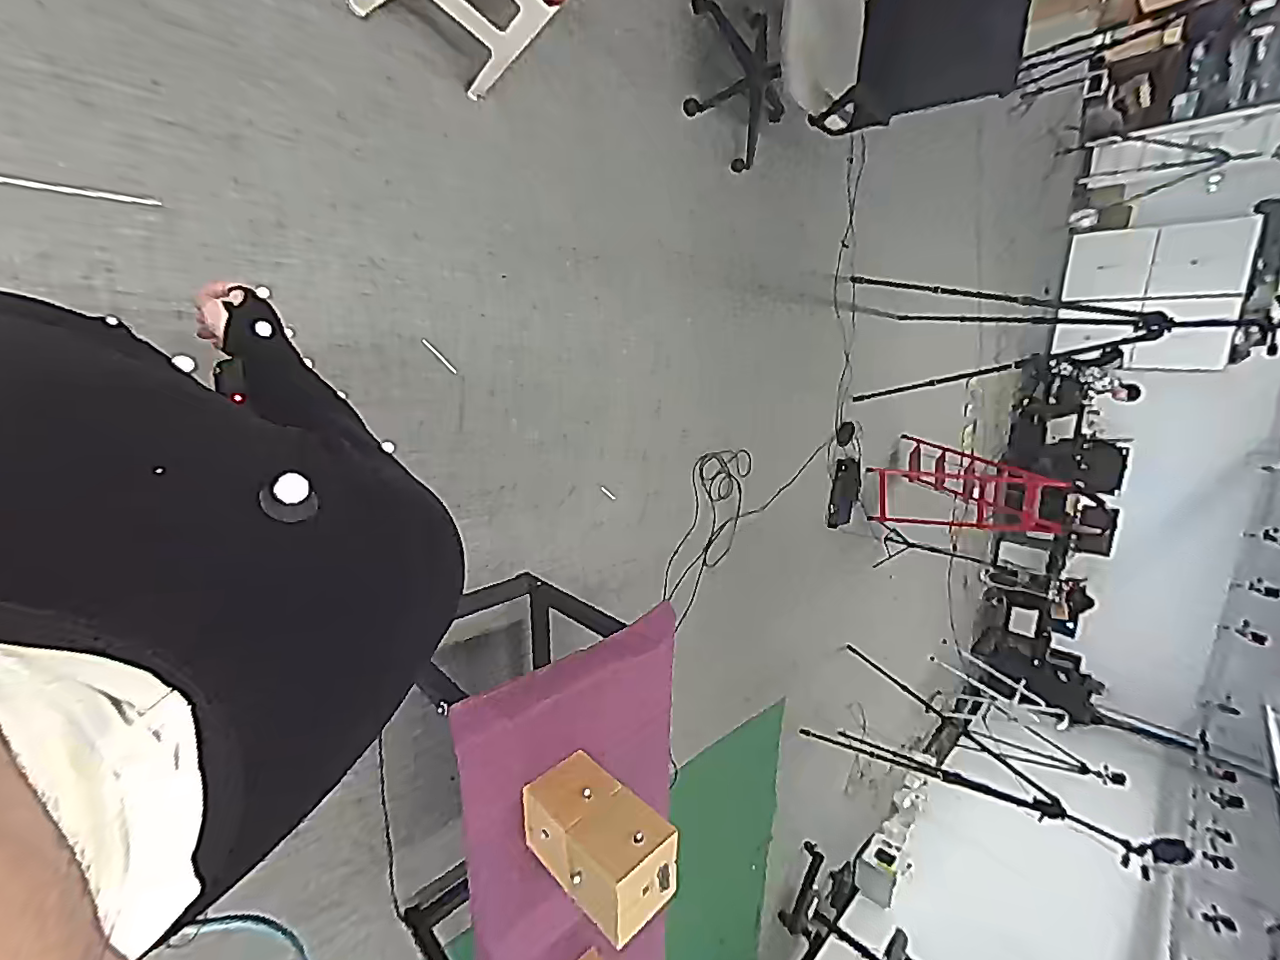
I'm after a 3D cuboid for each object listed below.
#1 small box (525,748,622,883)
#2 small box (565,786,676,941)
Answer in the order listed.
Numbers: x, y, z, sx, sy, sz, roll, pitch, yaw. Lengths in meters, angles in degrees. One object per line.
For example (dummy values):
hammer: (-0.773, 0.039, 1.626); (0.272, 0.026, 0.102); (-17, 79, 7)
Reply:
small box: (-0.159, 0.779, 1.275); (0.179, 0.176, 0.168); (-14, 110, -43)
small box: (-0.042, 0.808, 1.164); (0.179, 0.176, 0.168); (-13, 109, -42)
